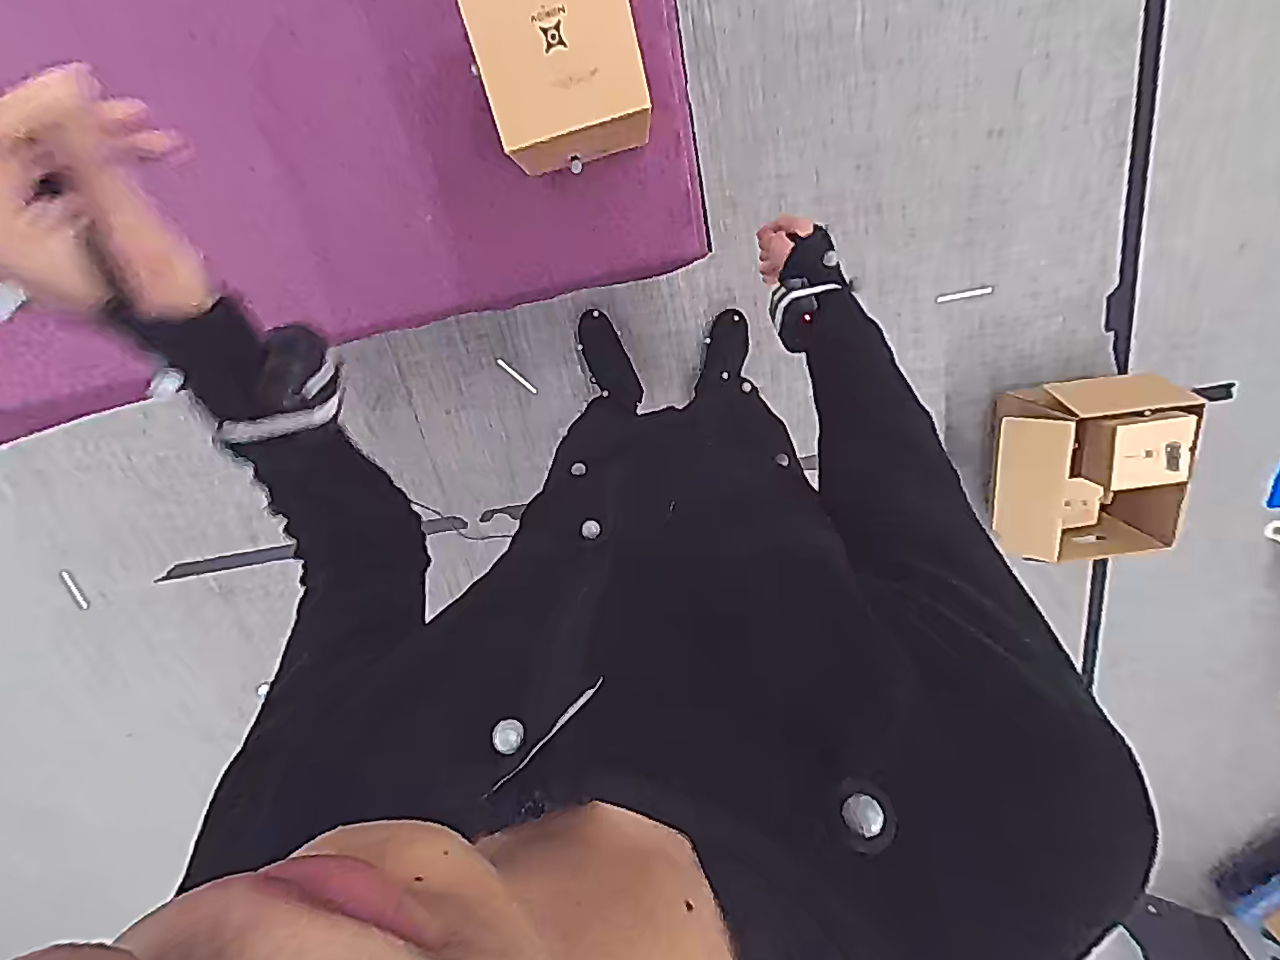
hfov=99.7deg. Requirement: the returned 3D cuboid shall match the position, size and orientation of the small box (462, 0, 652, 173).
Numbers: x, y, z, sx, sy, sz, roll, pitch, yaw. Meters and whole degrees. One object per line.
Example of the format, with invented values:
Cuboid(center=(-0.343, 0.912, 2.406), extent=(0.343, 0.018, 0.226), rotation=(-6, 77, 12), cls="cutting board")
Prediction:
Cuboid(center=(-0.088, -0.481, 0.618), extent=(0.168, 0.176, 0.179), rotation=(-14, 110, 5), cls="small box")
